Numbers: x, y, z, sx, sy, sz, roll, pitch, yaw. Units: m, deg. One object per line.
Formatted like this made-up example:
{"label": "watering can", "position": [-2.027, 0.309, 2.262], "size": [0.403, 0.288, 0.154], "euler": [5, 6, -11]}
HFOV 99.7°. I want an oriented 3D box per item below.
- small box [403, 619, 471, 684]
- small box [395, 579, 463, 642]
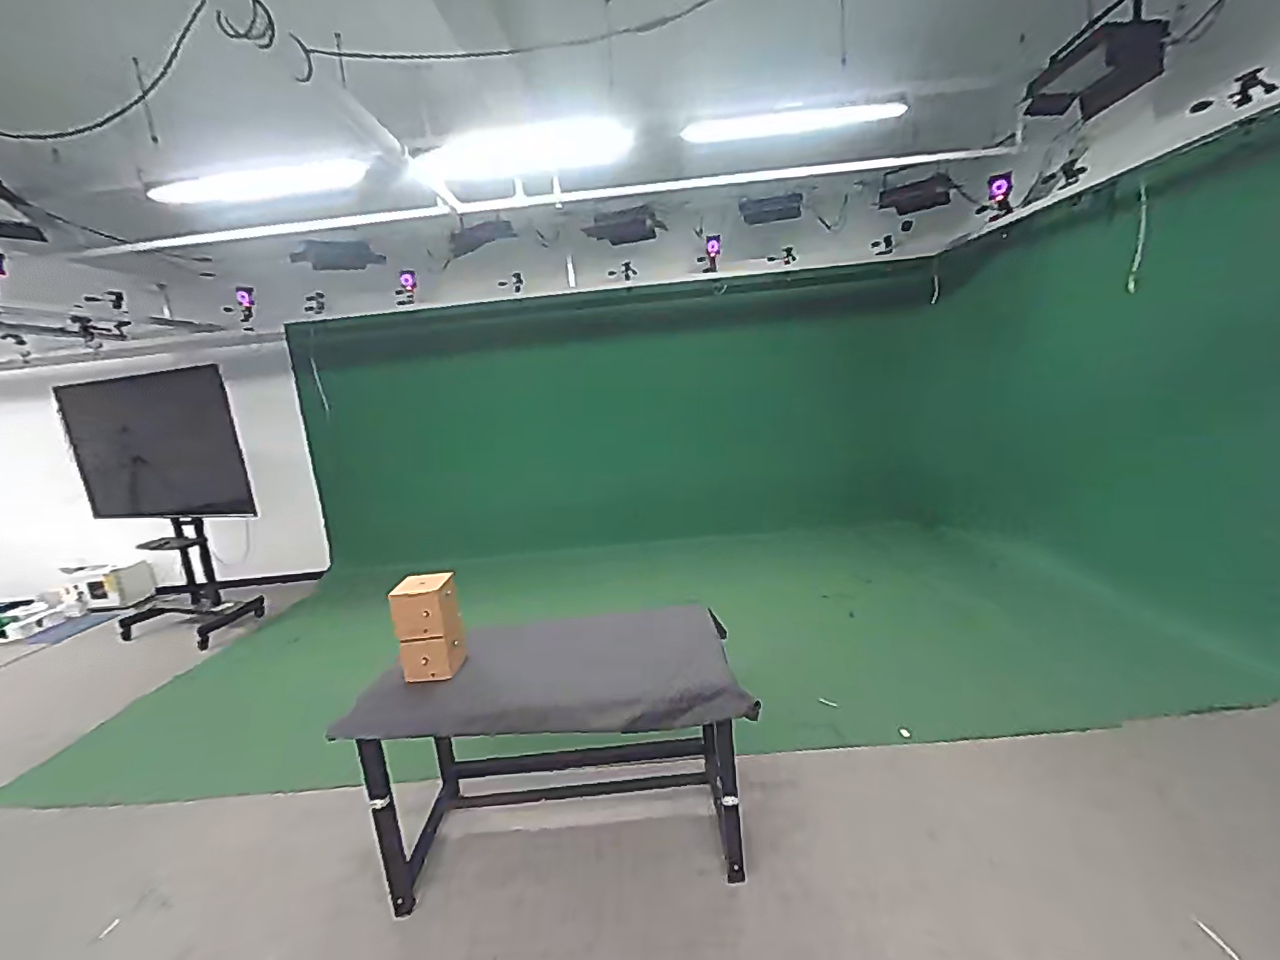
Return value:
{"label": "small box", "position": [-0.718, 0.618, 1.938], "size": [0.168, 0.176, 0.179], "euler": [-4, 10, 2]}
{"label": "small box", "position": [-0.733, 0.461, 1.897], "size": [0.168, 0.176, 0.179], "euler": [-4, 9, 0]}
